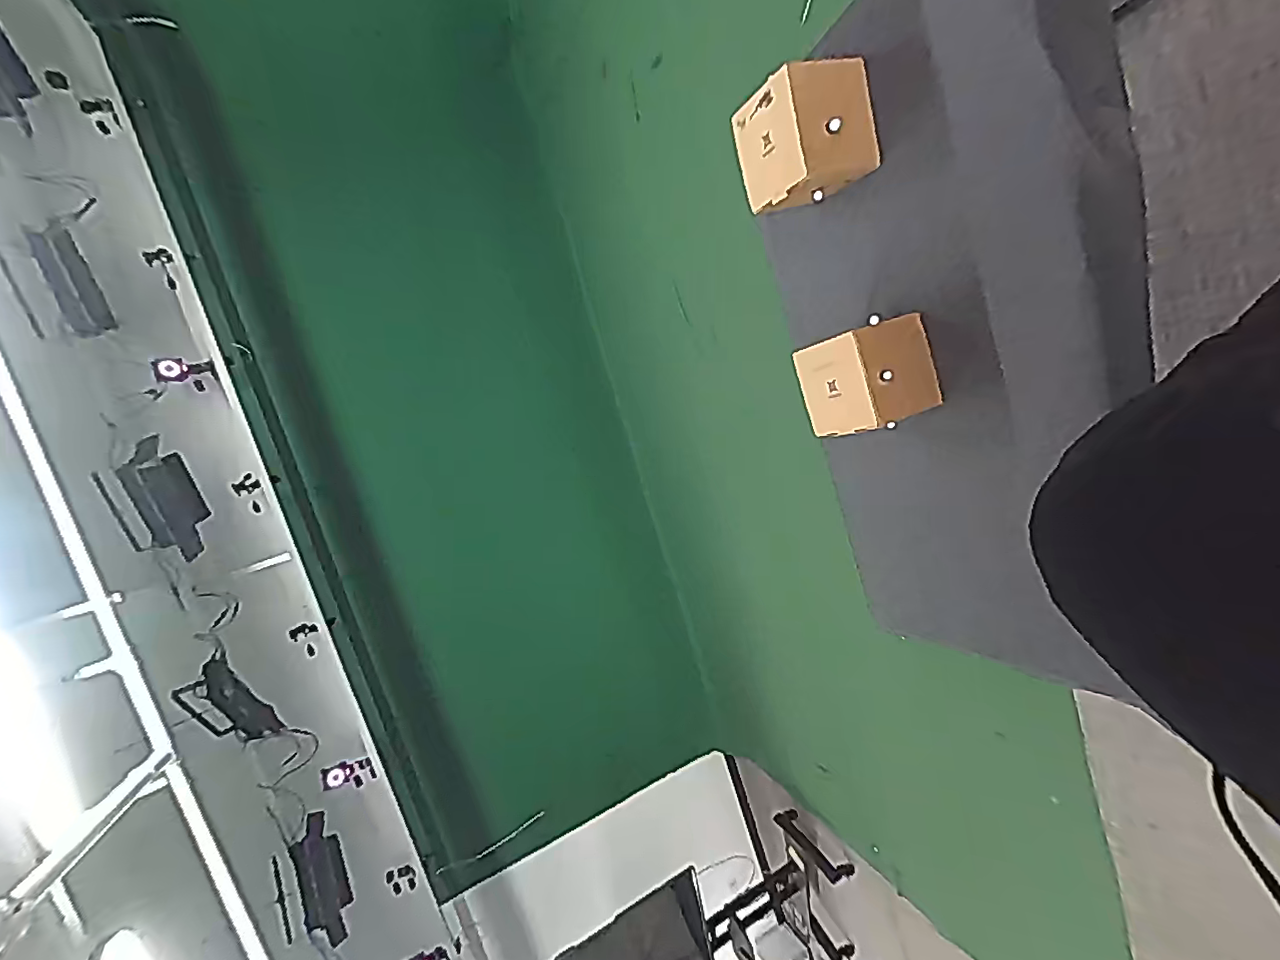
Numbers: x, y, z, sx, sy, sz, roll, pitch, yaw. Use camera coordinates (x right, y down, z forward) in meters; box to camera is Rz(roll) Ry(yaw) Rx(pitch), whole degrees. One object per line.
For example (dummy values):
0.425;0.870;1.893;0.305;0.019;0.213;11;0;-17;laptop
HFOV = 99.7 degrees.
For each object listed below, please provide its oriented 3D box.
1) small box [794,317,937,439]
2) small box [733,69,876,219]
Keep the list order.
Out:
0.429;-0.190;1.031;0.168;0.176;0.179;-5;102;68;small box
0.299;-0.604;0.978;0.168;0.176;0.179;11;119;66;small box
